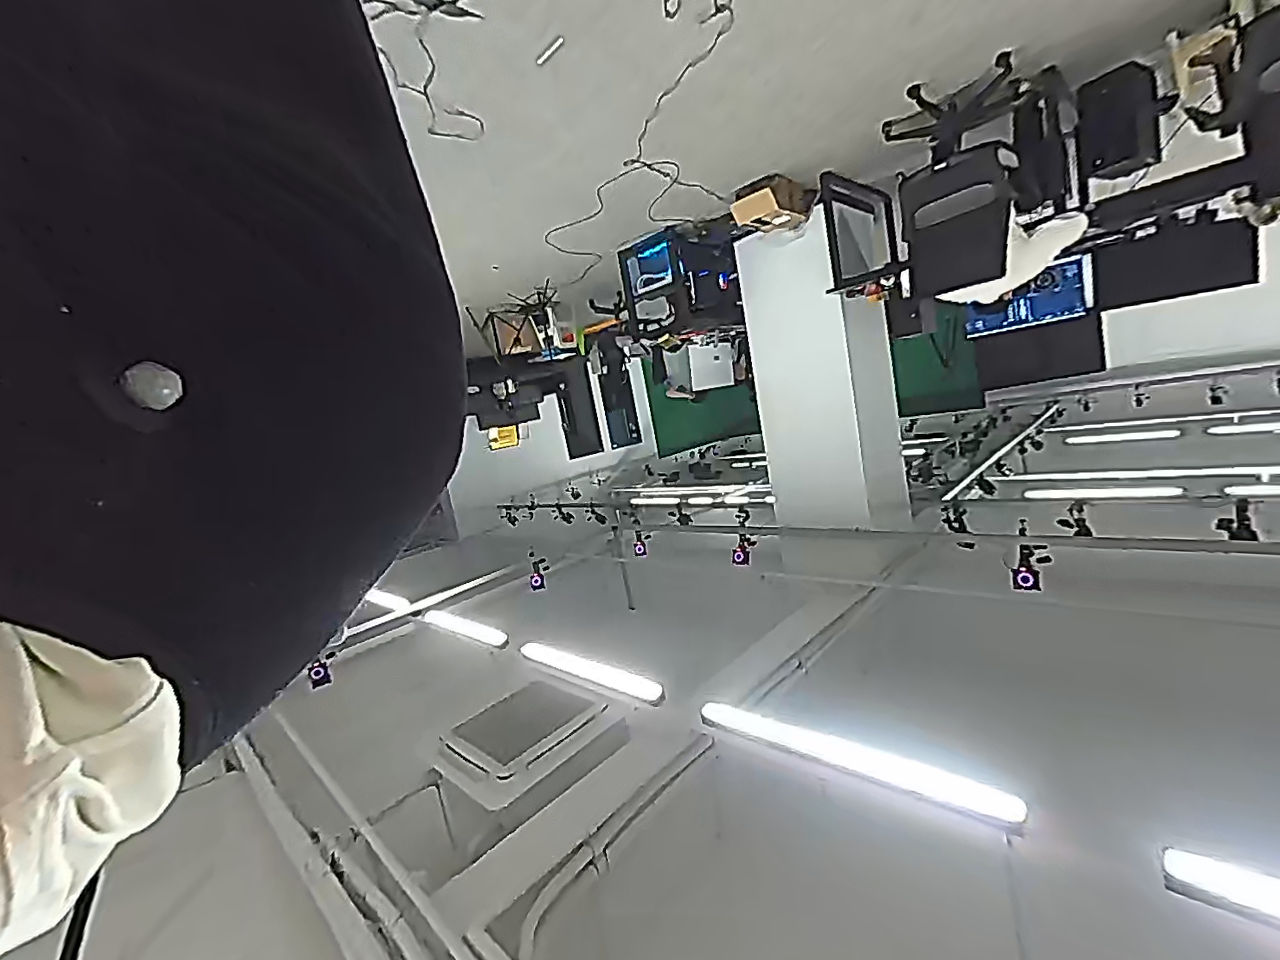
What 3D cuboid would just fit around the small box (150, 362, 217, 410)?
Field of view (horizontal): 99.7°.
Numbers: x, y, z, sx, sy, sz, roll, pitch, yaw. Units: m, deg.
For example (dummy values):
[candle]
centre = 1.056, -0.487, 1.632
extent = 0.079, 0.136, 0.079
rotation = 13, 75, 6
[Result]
[small box]
centre = -1.866, -0.385, 2.206
extent = 0.179, 0.176, 0.168
rotation = -4, -170, 43
